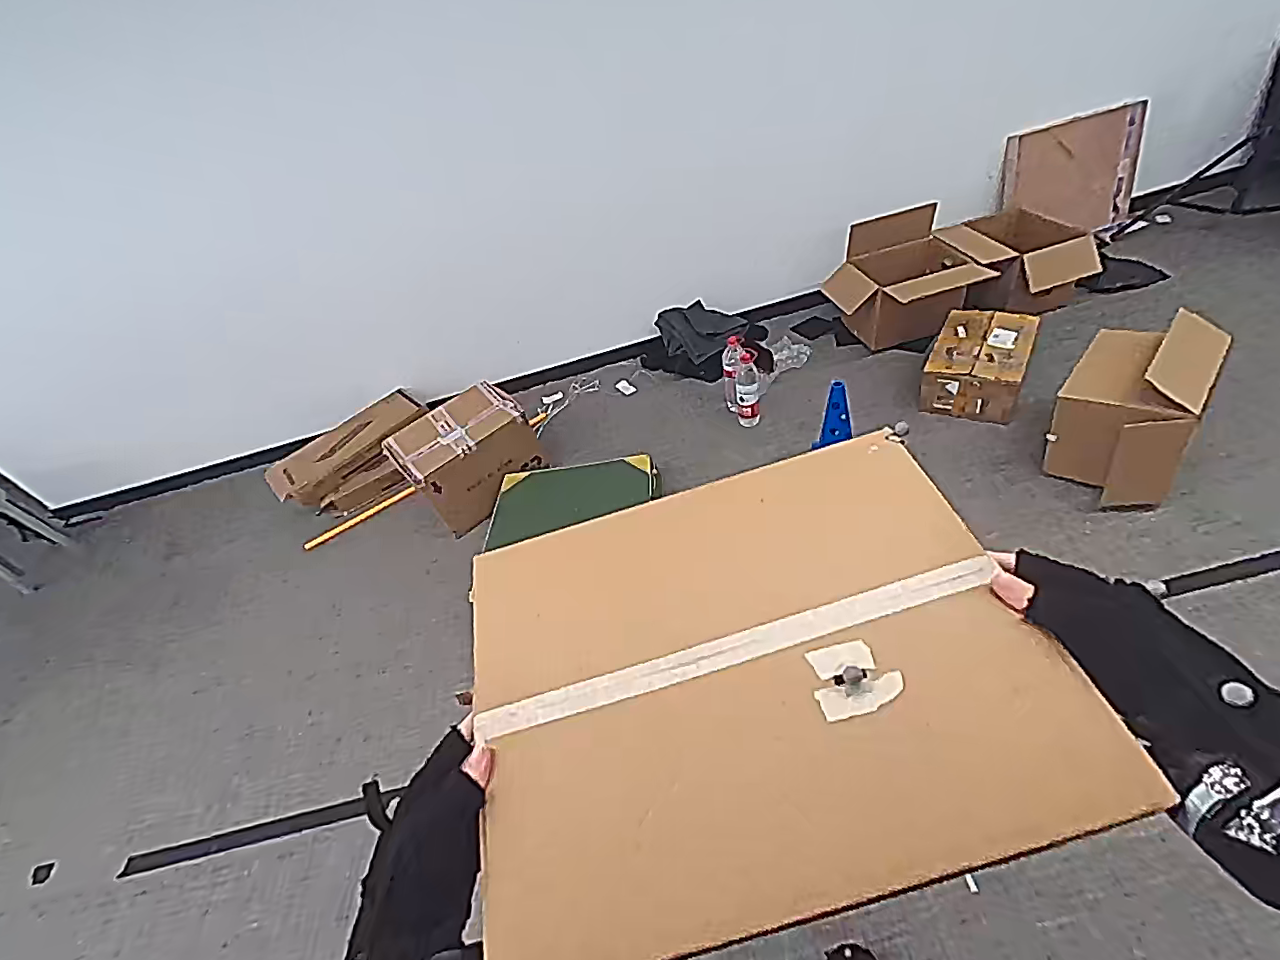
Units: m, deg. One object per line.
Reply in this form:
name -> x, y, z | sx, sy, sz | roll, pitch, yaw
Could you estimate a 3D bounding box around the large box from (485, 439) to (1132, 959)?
large box -> 0.103, 0.222, 0.531 | 0.408, 0.320, 0.320 | -17, 50, 0
